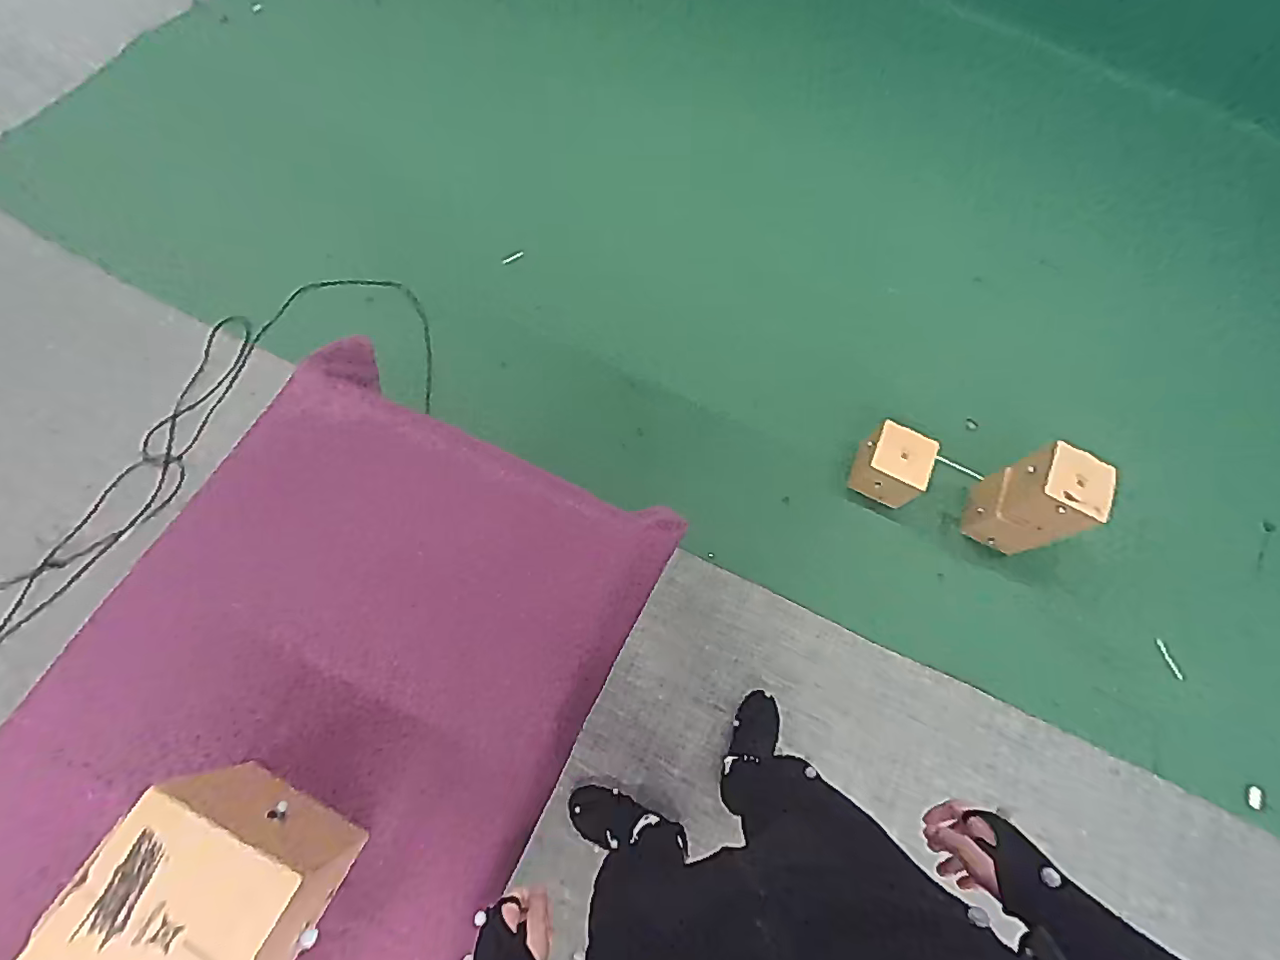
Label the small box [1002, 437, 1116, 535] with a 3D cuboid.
[{"bbox_3d":[1.119,0.020,1.456,0.168,0.176,0.179,29,69,6],"label":"small box"}]

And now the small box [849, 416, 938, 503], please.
[{"bbox_3d":[0.754,-0.054,1.629,0.168,0.176,0.179,25,68,6],"label":"small box"}]

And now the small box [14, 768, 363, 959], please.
[{"bbox_3d":[-0.430,0.418,0.551,0.179,0.176,0.168,27,69,4],"label":"small box"}]
